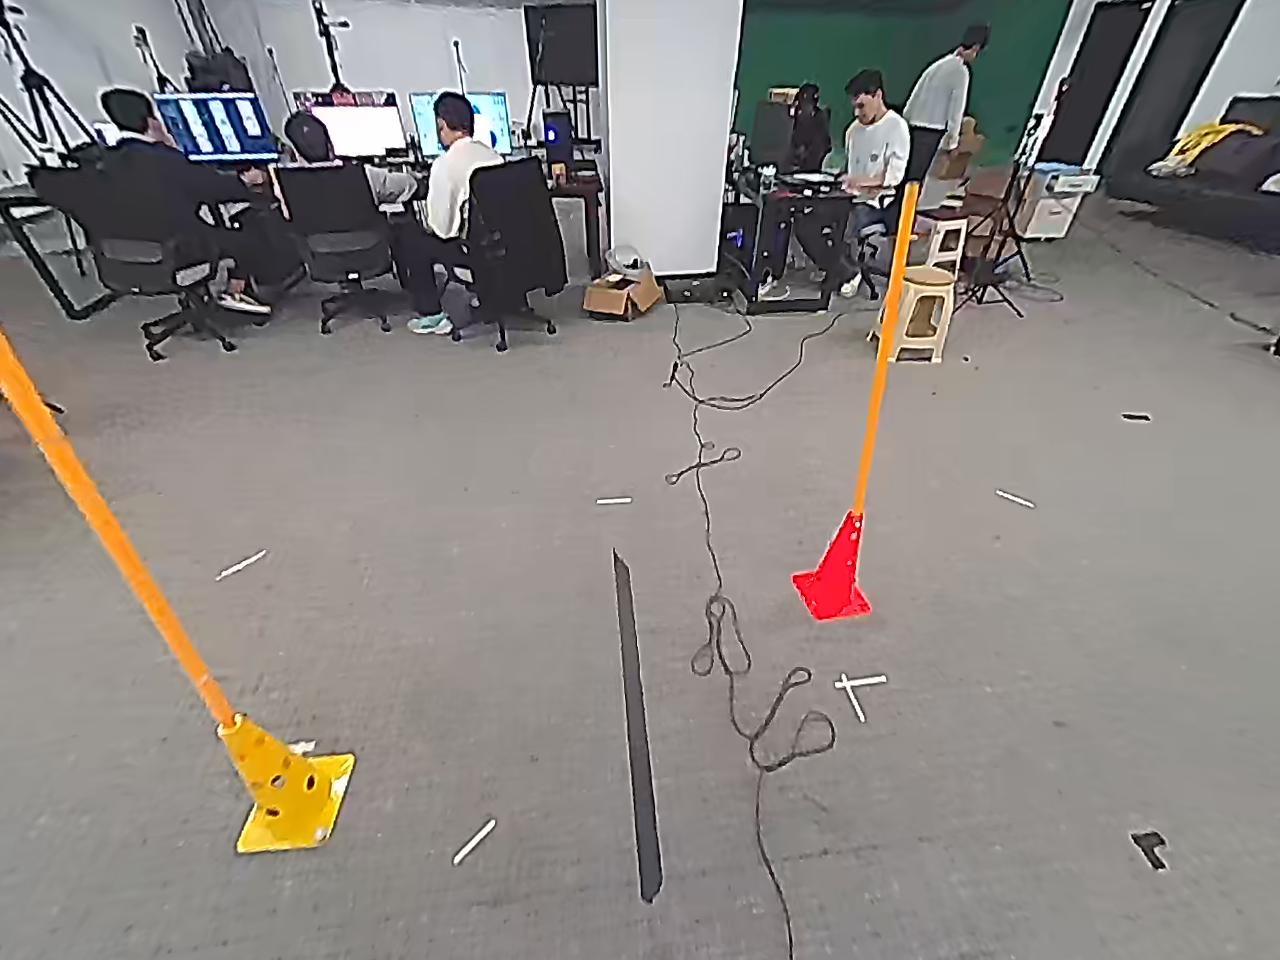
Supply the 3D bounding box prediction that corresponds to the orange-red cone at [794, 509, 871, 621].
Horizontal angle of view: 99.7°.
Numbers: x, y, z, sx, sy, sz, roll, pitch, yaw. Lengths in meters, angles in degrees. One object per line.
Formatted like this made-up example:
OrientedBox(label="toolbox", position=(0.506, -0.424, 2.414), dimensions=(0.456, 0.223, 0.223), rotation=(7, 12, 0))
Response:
OrientedBox(label="orange-red cone", position=(0.623, 0.237, 1.666), dimensions=(0.199, 0.360, 0.198), rotation=(-8, 37, -8))
